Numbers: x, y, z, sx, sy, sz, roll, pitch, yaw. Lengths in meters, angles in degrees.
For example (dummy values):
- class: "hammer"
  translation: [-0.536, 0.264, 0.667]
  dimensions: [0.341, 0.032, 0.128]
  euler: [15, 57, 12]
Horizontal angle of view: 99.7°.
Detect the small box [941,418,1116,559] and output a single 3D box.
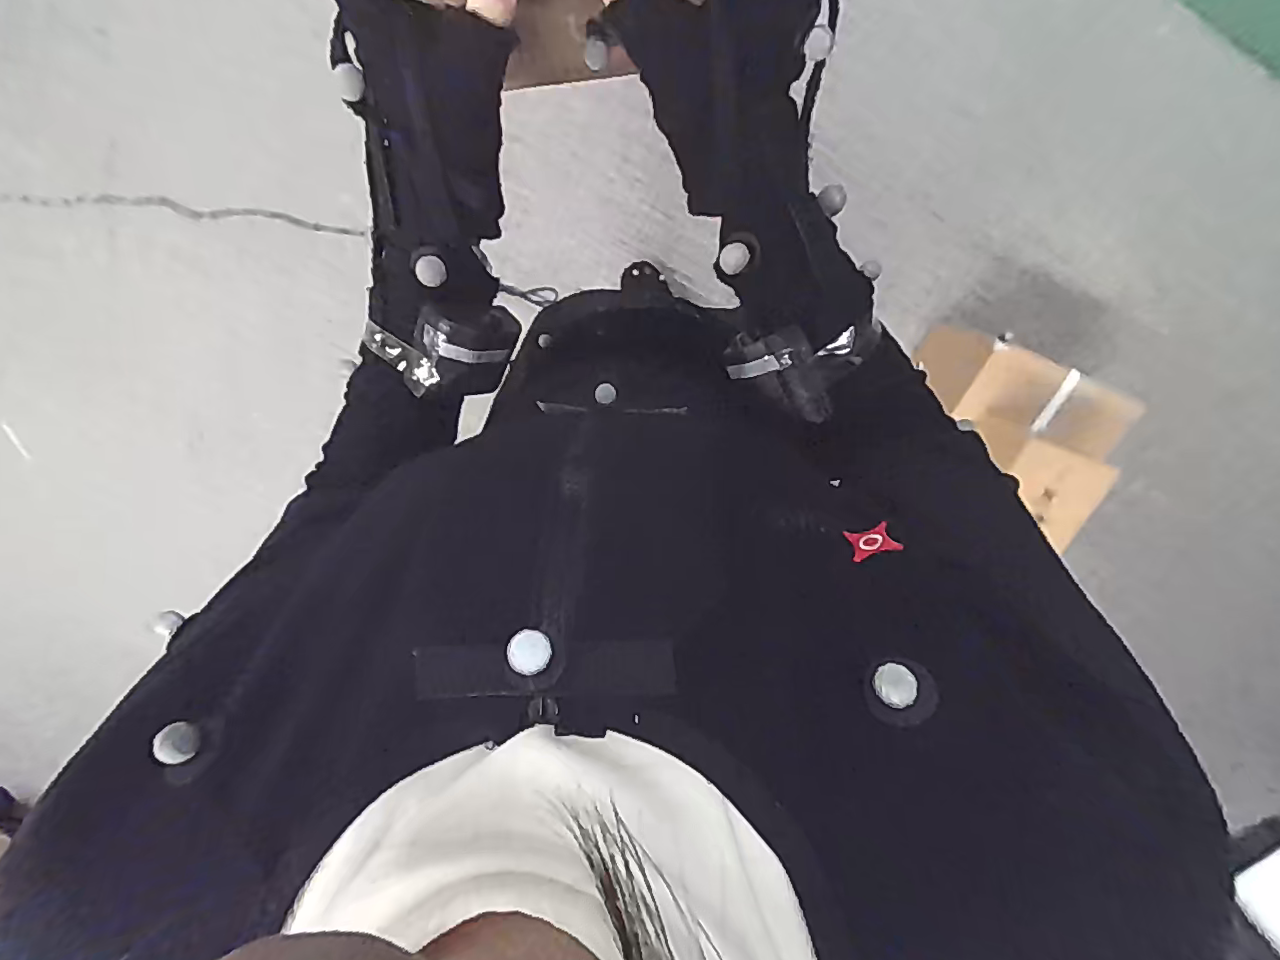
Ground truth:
- class: "small box"
  translation: [0.684, 0.010, 0.985]
  dimensions: [0.168, 0.176, 0.179]
  euler: [18, 113, -1]
